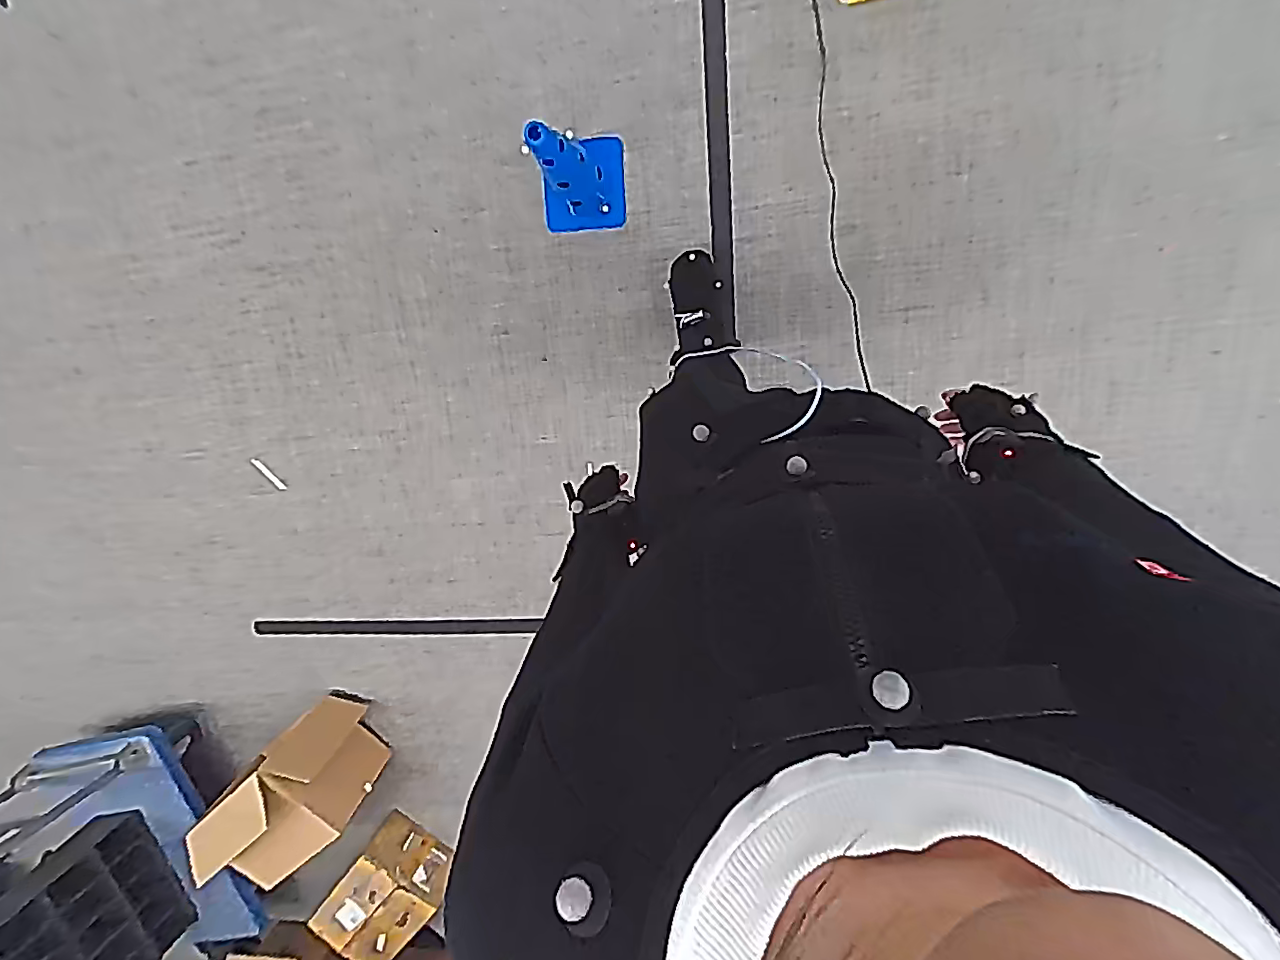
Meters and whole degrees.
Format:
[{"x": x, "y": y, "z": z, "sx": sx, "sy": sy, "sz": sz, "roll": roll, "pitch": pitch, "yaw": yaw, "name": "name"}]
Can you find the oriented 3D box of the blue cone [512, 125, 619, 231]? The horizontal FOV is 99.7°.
[{"x": -0.172, "y": -0.669, "z": 1.149, "sx": 0.192, "sy": 0.380, "sz": 0.193, "roll": 2, "pitch": 105, "yaw": 10, "name": "blue cone"}]
